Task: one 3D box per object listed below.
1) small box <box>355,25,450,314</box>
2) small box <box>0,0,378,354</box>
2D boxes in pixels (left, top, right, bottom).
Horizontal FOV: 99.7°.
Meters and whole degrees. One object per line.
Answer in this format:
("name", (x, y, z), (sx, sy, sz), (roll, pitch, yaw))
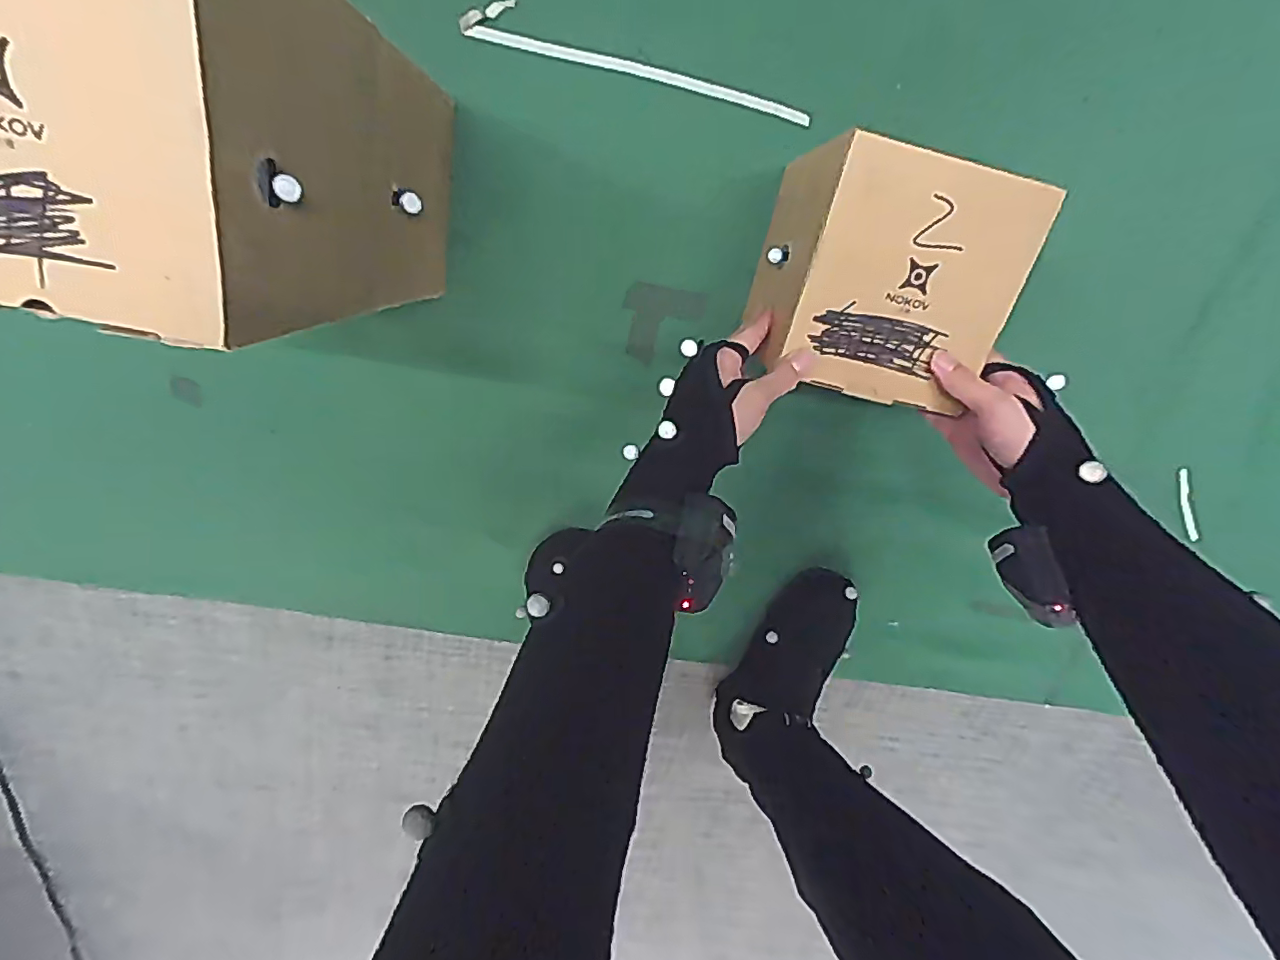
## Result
("small box", (-0.260, -0.246, 0.433), (0.168, 0.176, 0.179), (10, 113, -7))
("small box", (-0.253, -0.182, 0.282), (0.168, 0.176, 0.179), (10, 113, -7))
